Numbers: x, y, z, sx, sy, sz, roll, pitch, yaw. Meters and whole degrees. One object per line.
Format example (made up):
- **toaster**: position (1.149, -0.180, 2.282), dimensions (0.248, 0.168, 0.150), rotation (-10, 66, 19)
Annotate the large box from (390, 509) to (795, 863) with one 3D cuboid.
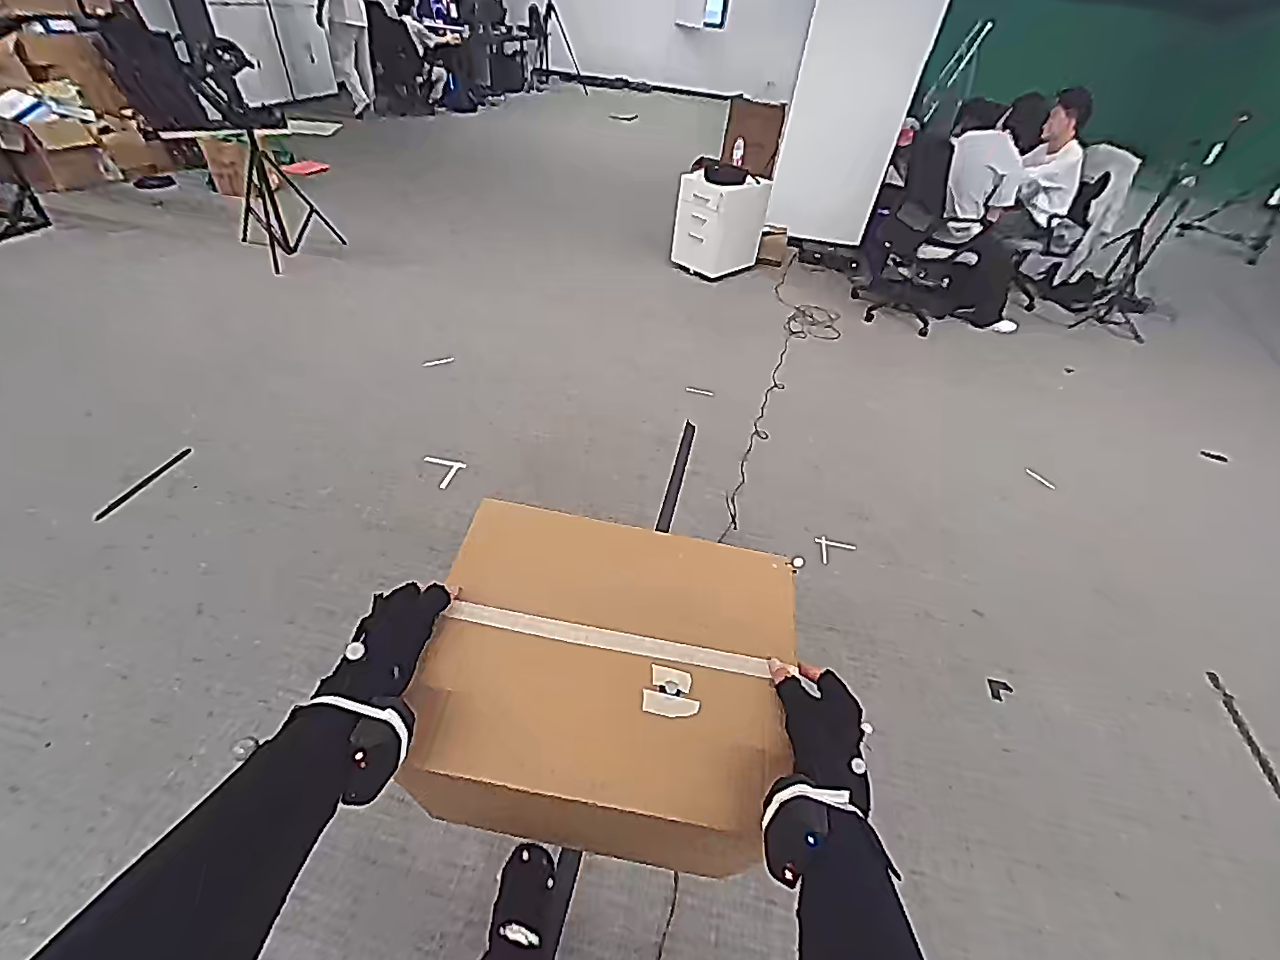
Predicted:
- **large box**: position (-0.047, 0.279, 0.723), dimensions (0.408, 0.320, 0.320), rotation (11, 49, 0)
